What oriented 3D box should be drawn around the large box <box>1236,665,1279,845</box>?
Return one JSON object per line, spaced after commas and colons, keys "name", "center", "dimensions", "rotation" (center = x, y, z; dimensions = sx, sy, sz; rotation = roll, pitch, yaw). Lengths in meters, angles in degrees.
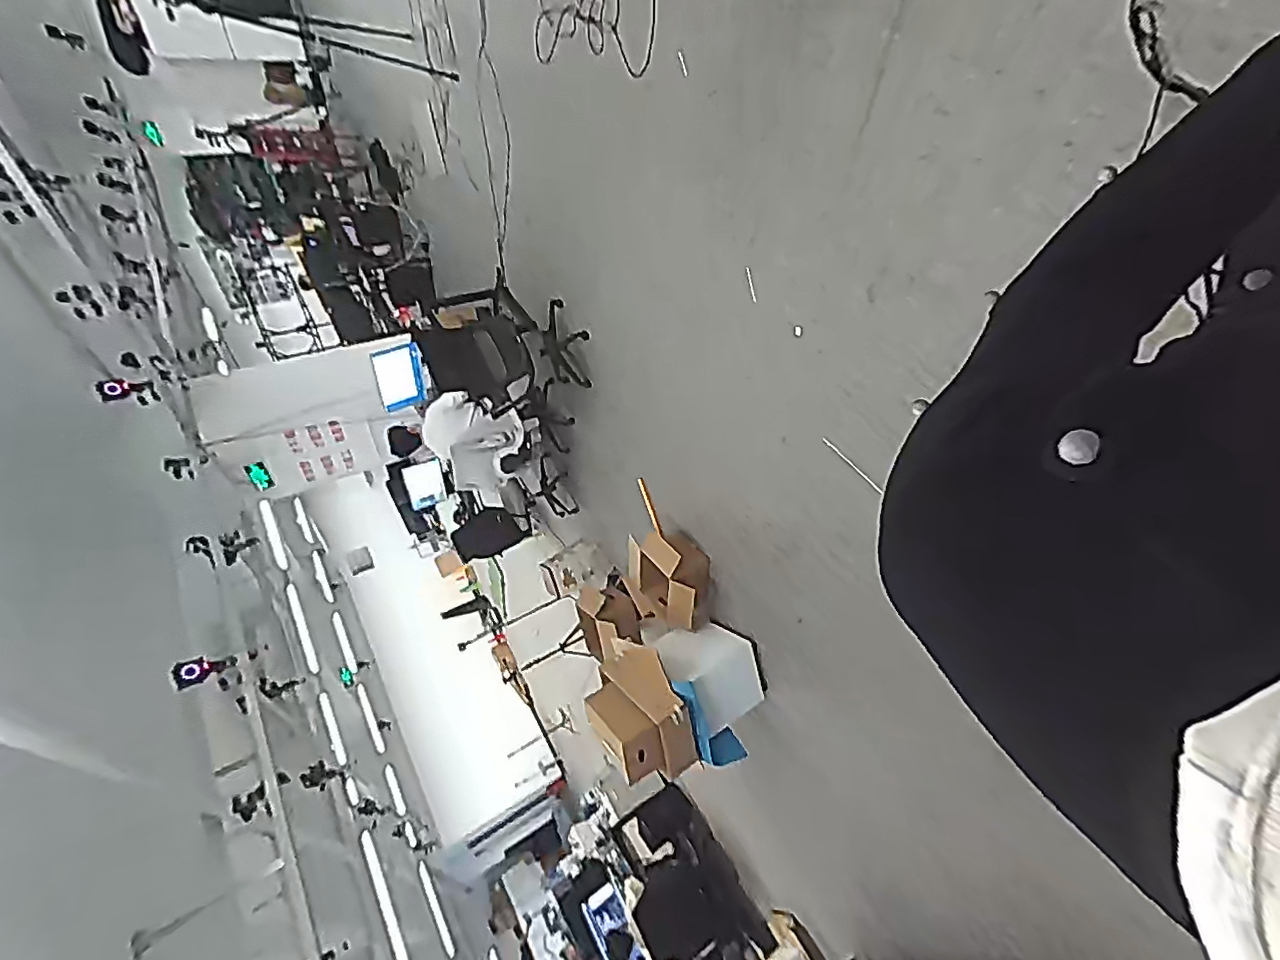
{"name": "large box", "center": [1.497, 0.580, 1.017], "dimensions": [0.408, 0.320, 0.320], "rotation": [-20, 93, 62]}
